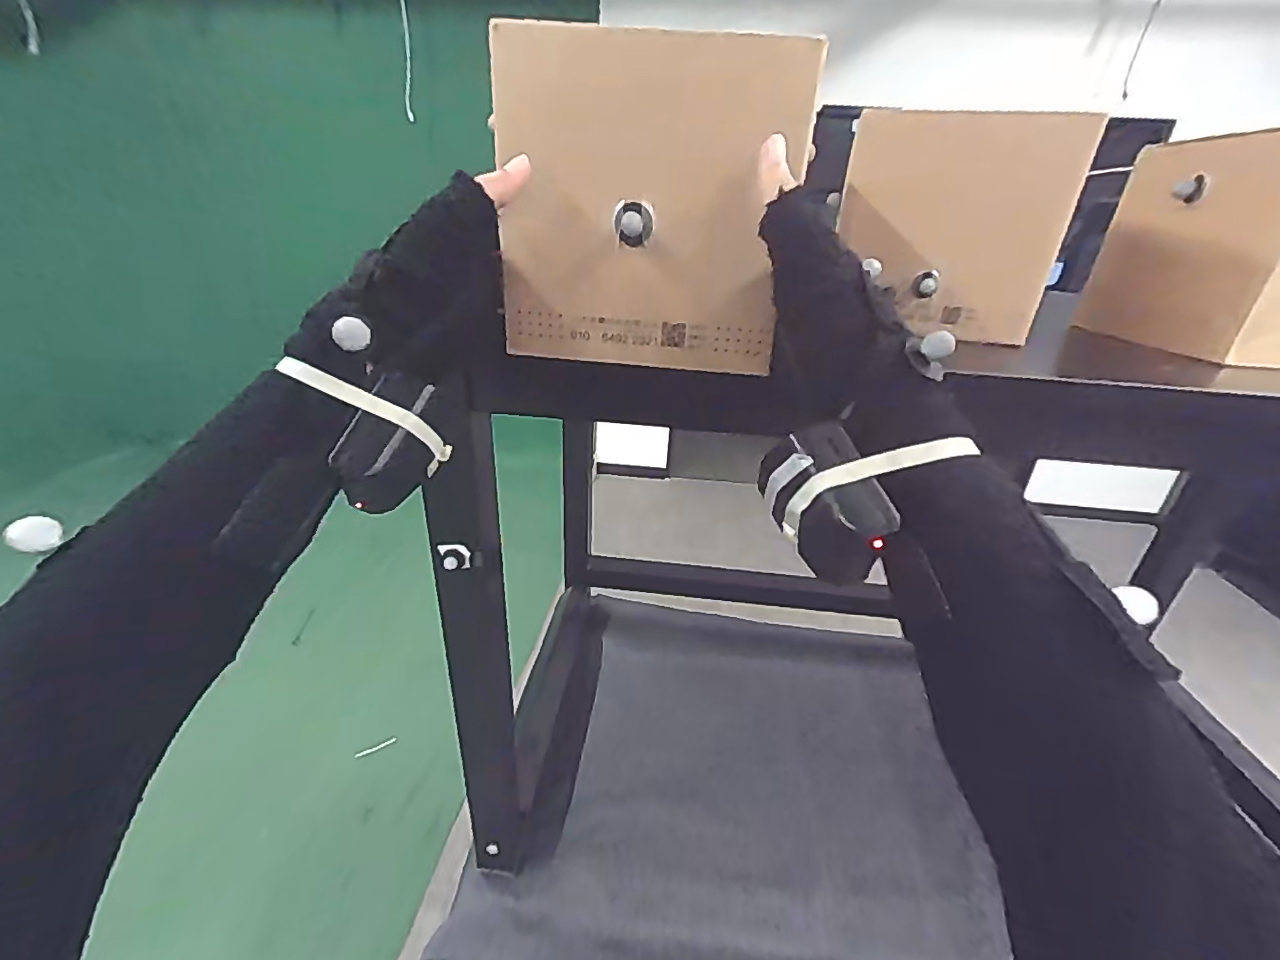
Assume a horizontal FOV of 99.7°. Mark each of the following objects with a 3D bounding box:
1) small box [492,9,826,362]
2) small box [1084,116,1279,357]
[{"bbox_3d":[0.013,-0.185,0.368,0.168,0.176,0.179,6,27,3],"label":"small box"},{"bbox_3d":[0.540,-0.198,0.456,0.168,0.176,0.179,3,26,0],"label":"small box"}]
